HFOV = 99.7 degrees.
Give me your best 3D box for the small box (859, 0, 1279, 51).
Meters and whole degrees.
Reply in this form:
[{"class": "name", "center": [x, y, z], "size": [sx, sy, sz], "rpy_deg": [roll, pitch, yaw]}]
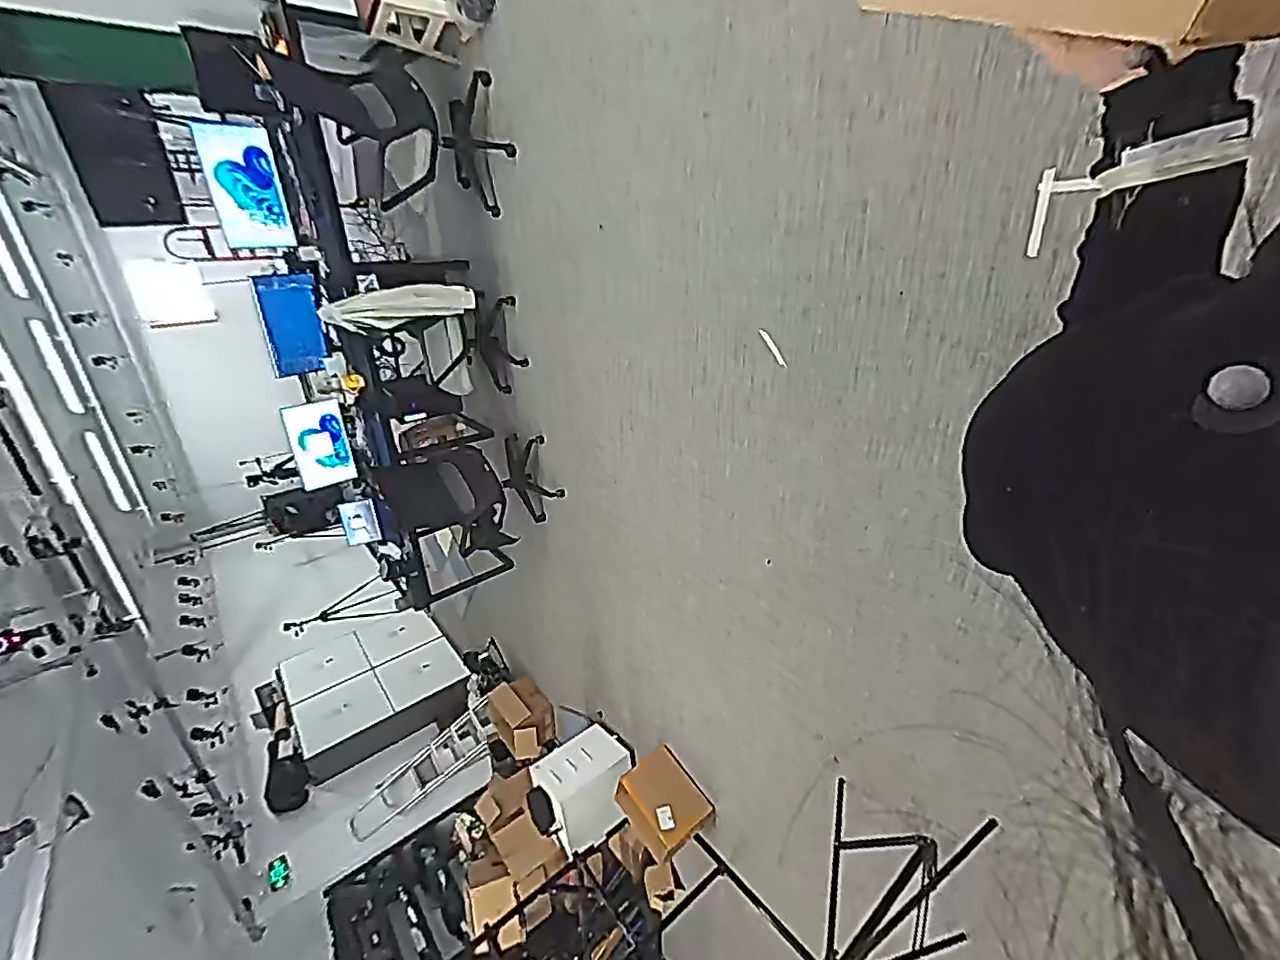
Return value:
[{"class": "small box", "center": [0.246, -0.316, 0.248], "size": [0.179, 0.176, 0.168], "rpy_deg": [48, 150, 37]}]
